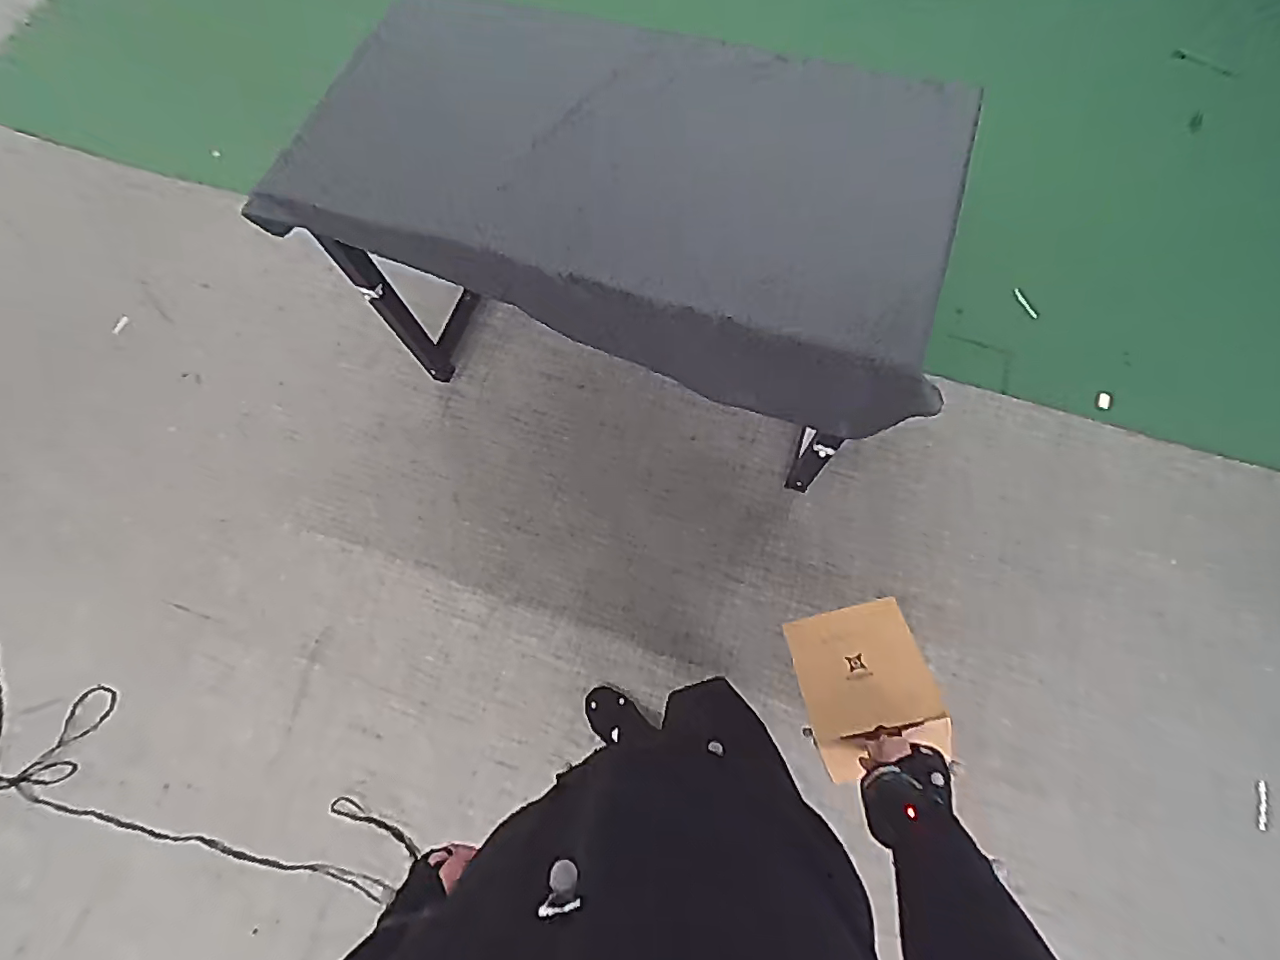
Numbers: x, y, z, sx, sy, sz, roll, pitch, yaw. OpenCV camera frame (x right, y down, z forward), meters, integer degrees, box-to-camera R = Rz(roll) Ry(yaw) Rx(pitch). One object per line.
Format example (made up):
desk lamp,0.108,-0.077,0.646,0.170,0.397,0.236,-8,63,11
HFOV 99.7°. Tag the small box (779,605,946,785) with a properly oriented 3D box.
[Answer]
small box,0.312,0.312,0.768,0.168,0.176,0.179,-18,41,10
